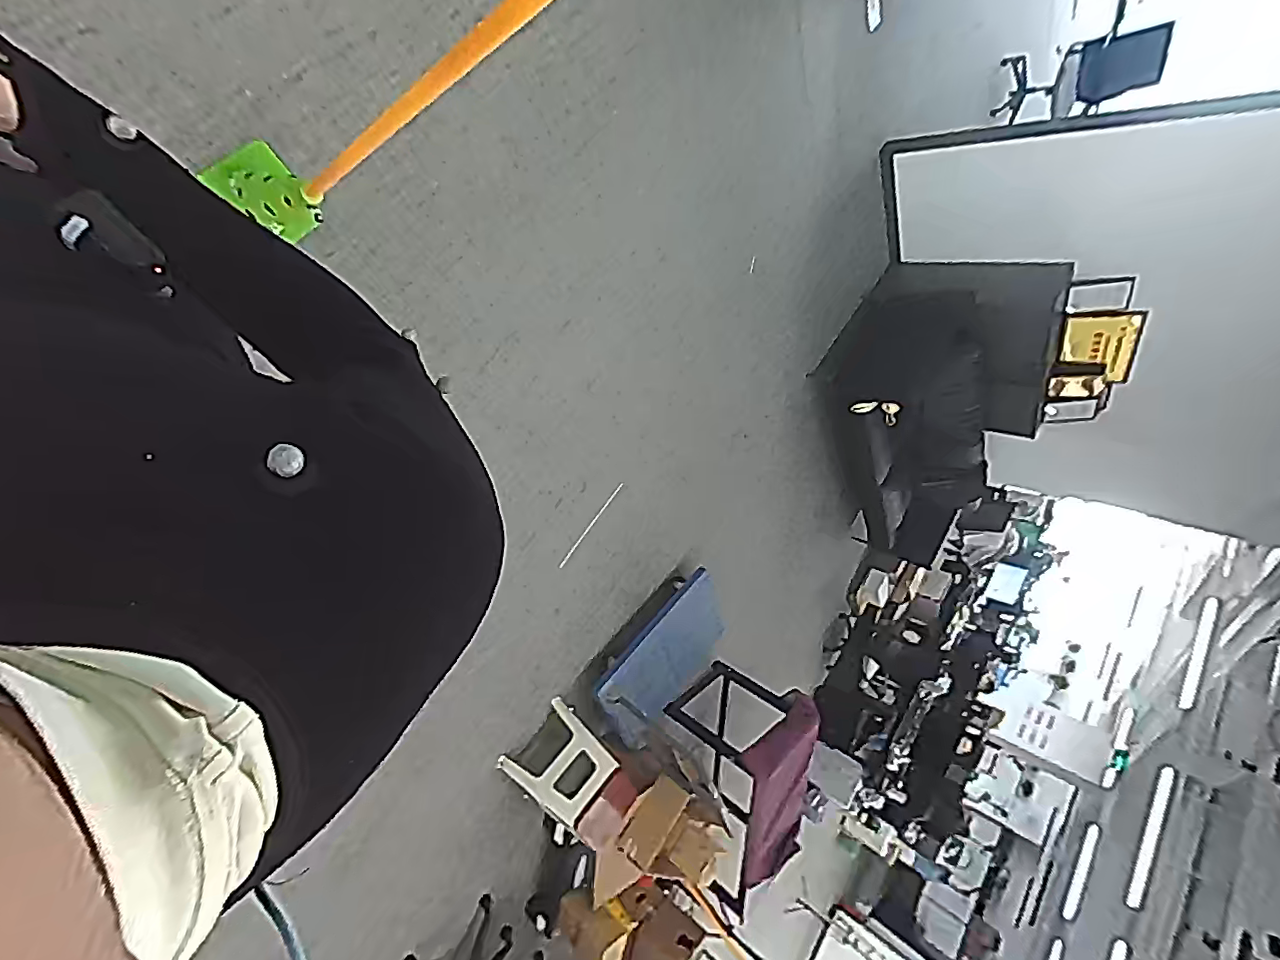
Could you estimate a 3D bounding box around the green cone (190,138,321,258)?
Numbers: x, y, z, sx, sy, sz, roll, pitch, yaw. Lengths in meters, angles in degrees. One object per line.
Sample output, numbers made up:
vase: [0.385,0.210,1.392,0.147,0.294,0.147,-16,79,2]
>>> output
green cone: [-0.777,-0.616,1.167,0.202,0.368,0.200,-51,137,-19]
